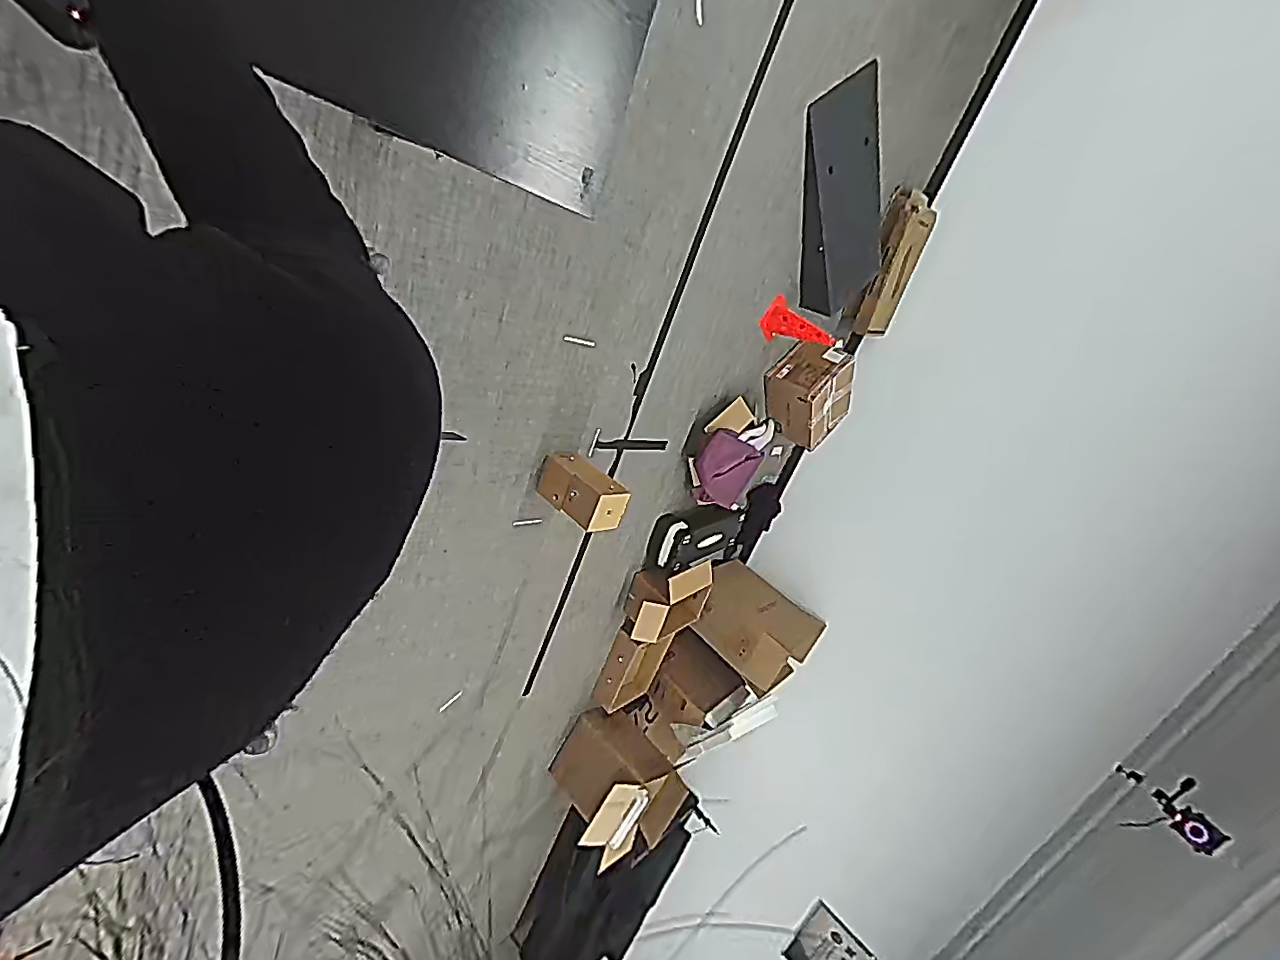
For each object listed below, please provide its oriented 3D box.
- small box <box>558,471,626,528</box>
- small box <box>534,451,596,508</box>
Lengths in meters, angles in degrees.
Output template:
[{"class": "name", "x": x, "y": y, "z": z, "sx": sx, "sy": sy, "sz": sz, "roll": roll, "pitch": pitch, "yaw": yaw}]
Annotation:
[{"class": "small box", "x": -0.194, "y": 0.072, "z": 2.142, "sx": 0.179, "sy": 0.176, "sz": 0.168, "roll": -2, "pitch": 121, "yaw": -50}, {"class": "small box", "x": -0.313, "y": -0.005, "z": 2.221, "sx": 0.168, "sy": 0.176, "sz": 0.179, "roll": -5, "pitch": 125, "yaw": -50}]
